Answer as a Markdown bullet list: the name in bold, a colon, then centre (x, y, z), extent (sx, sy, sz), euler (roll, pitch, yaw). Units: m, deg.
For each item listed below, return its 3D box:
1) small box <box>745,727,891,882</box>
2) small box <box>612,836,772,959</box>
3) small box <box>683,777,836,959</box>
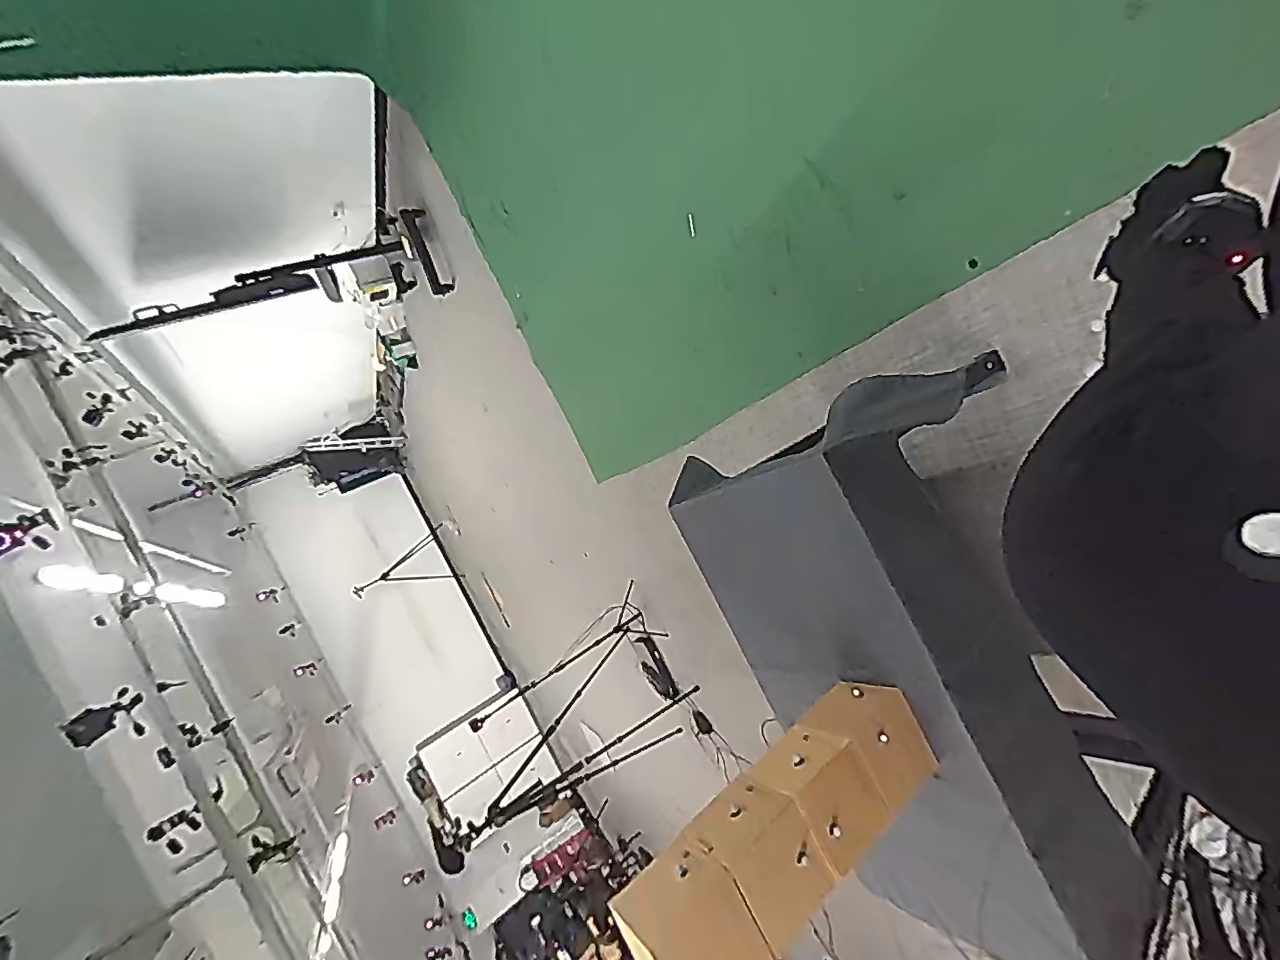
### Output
- **small box**: centre (0.344, 0.613, 1.051), extent (0.179, 0.176, 0.168), euler (62, 151, 1)
- **small box**: centre (0.087, 0.752, 0.901), extent (0.179, 0.176, 0.168), euler (63, 151, 1)
- **small box**: centre (0.215, 0.681, 0.978), extent (0.179, 0.176, 0.168), euler (64, 151, 0)
